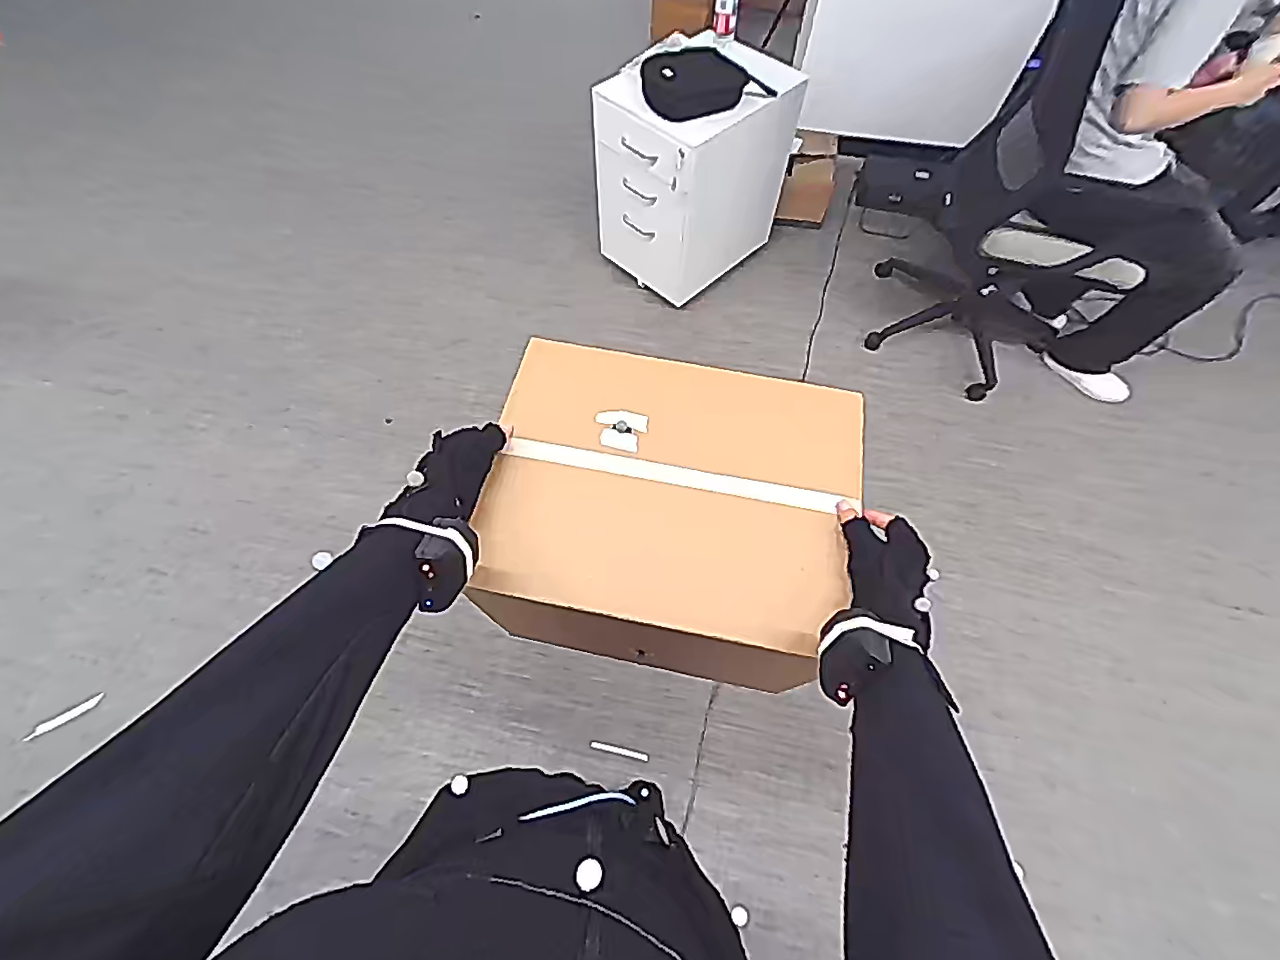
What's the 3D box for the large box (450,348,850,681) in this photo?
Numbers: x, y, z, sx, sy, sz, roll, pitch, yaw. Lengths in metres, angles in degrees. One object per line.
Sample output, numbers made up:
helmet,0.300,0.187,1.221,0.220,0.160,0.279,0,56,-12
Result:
large box,0.031,0.064,0.729,0.408,0.320,0.320,10,64,6
